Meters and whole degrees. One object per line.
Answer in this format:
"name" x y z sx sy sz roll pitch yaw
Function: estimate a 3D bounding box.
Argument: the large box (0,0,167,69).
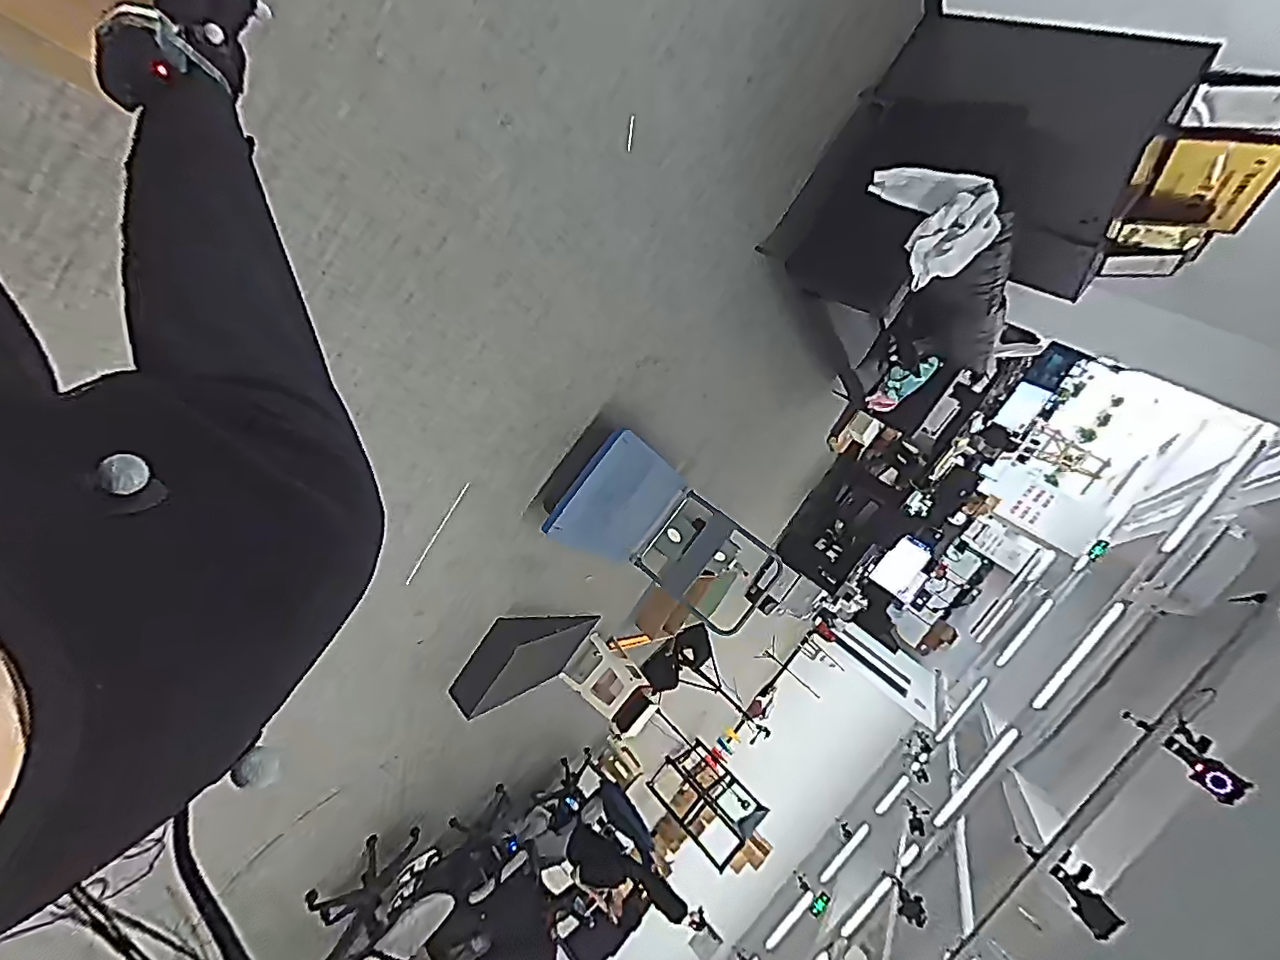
"large box" -0.605 -0.593 0.389 0.408 0.320 0.320 13 104 -56
